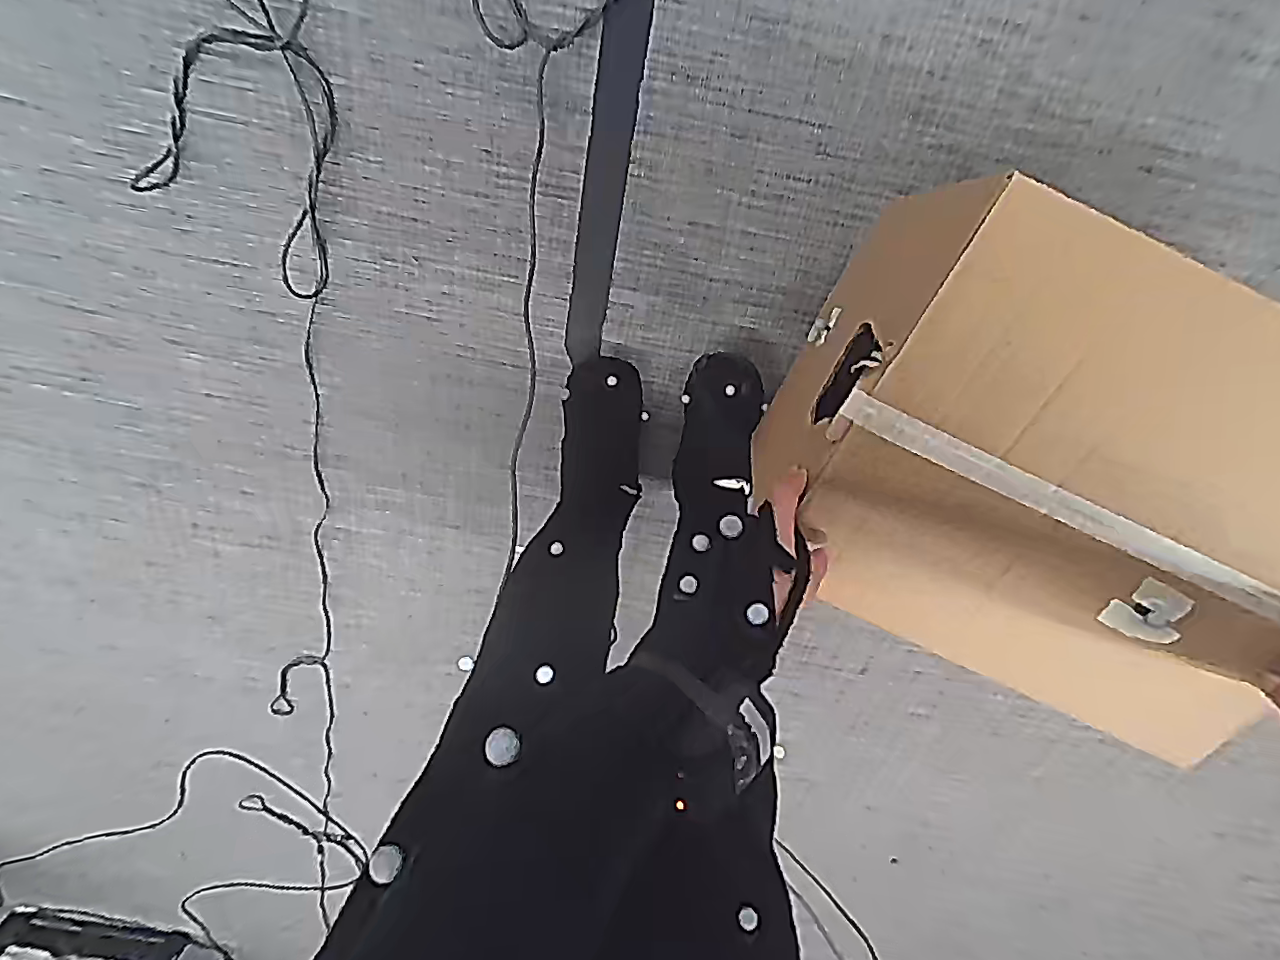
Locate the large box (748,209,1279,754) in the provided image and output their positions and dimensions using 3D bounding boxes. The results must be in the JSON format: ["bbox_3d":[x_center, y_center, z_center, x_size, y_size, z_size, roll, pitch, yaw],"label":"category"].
[{"bbox_3d":[0.356,-0.024,0.529,0.408,0.320,0.320,24,117,-2],"label":"large box"}]
